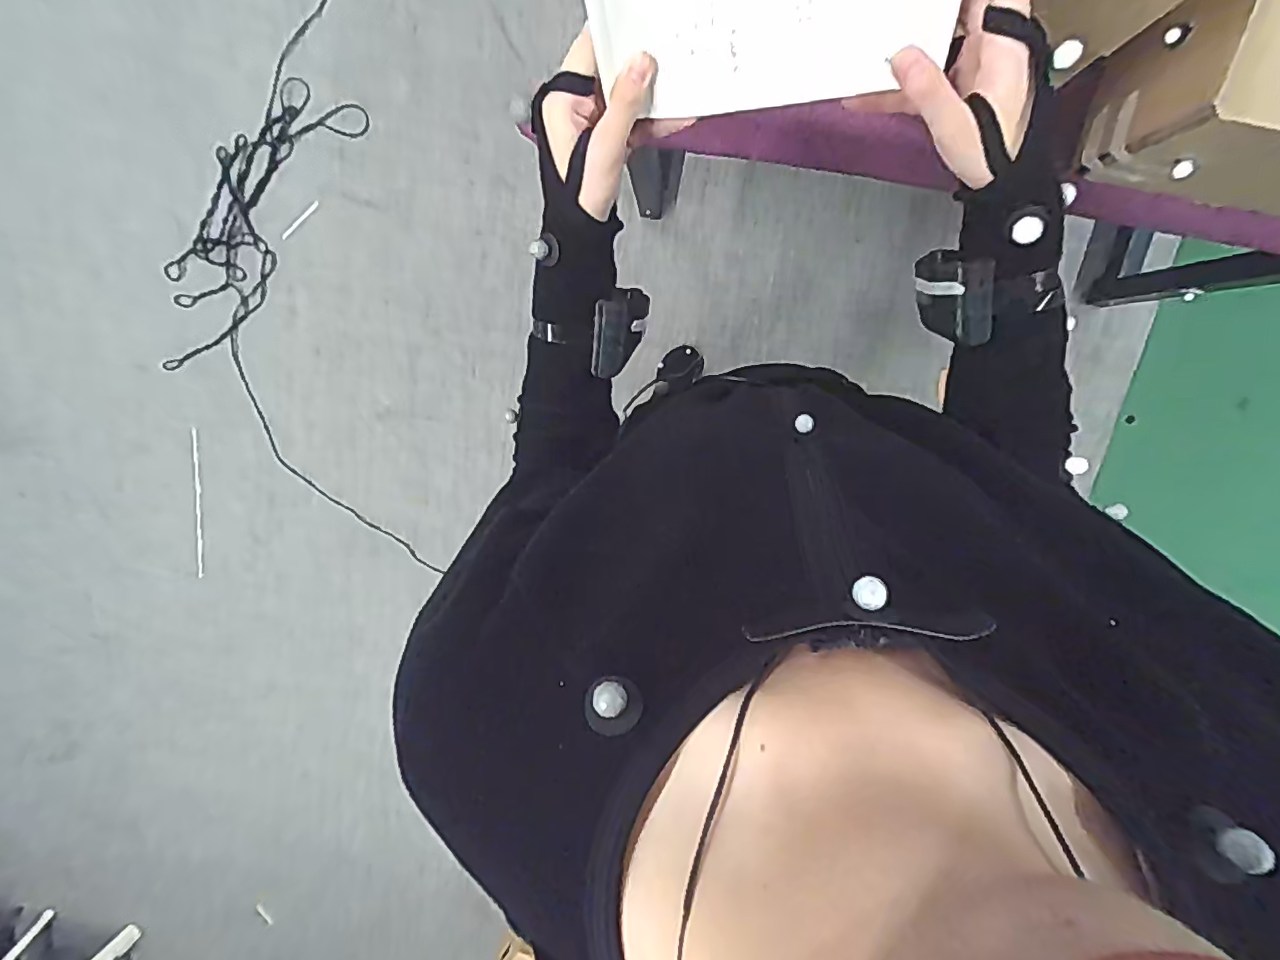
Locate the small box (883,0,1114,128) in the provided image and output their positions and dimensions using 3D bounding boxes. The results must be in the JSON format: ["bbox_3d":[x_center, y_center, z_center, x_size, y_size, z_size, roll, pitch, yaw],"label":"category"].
[{"bbox_3d":[0.377,-0.504,0.562,0.168,0.176,0.179,12,101,2],"label":"small box"}]

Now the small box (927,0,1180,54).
[{"bbox_3d":[0.357,-0.465,0.404,0.179,0.176,0.168,12,101,2],"label":"small box"}]
